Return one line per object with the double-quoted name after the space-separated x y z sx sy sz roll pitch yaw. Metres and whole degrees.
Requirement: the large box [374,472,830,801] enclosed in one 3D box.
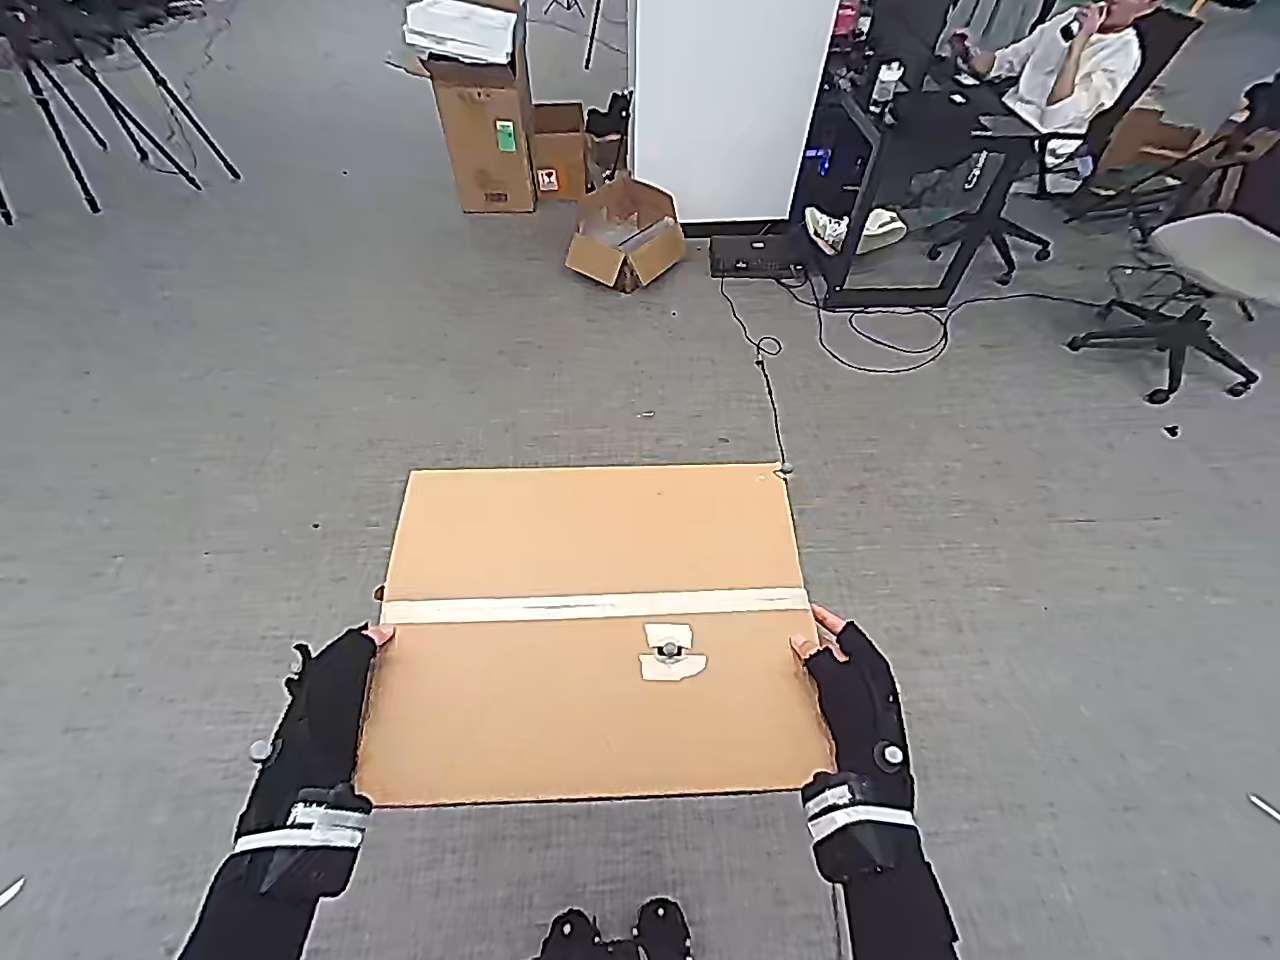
-0.042 0.203 0.666 0.408 0.320 0.320 -1 61 -3 "large box"
